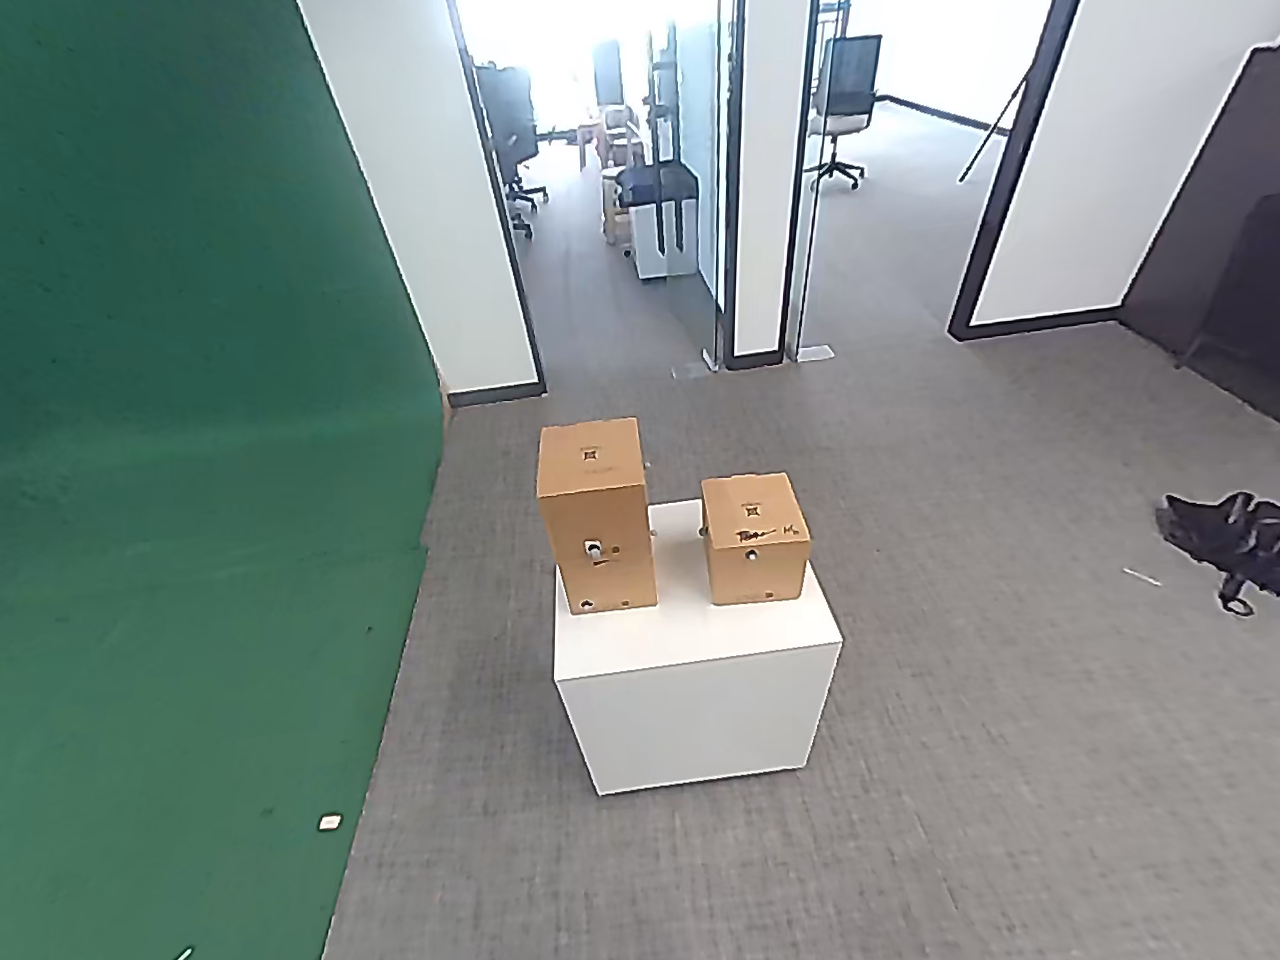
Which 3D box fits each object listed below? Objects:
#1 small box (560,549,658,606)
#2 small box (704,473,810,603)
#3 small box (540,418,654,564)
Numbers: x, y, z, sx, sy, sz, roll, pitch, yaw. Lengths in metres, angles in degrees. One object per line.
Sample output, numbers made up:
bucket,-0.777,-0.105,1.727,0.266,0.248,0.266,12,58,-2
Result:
small box,-0.057,0.127,1.043,0.168,0.176,0.179,-6,41,-1
small box,0.211,0.109,1.028,0.168,0.176,0.179,-6,41,3
small box,-0.069,0.019,0.924,0.168,0.176,0.179,-8,43,0
